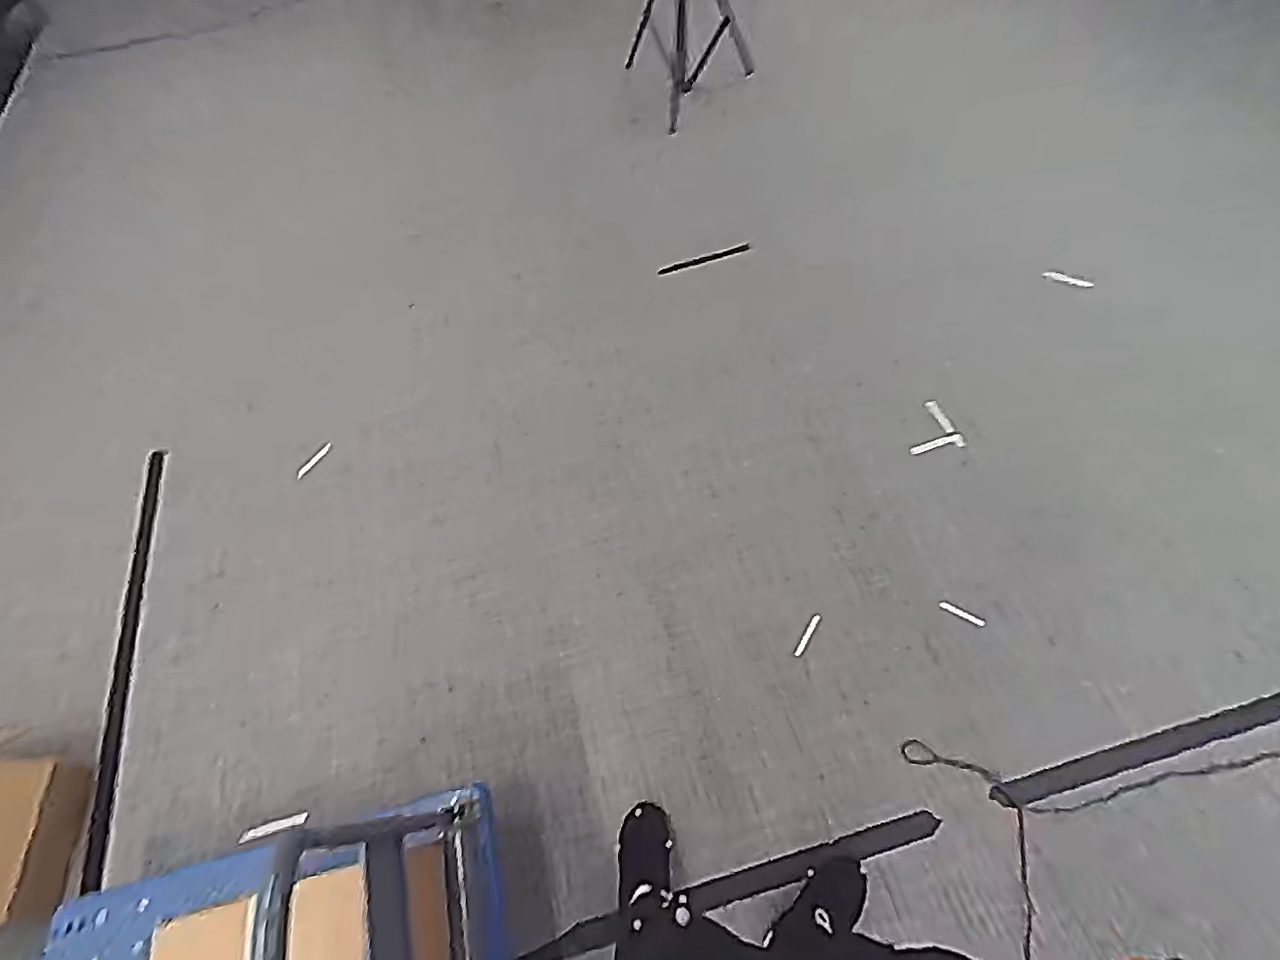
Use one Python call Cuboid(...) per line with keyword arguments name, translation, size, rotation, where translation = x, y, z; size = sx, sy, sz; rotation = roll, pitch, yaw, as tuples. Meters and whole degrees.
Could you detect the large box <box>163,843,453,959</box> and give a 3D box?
Cuboid(name="large box", translation=(-0.498, 0.862, 0.855), size=(0.320, 0.320, 0.408), rotation=(-15, 61, -4))
